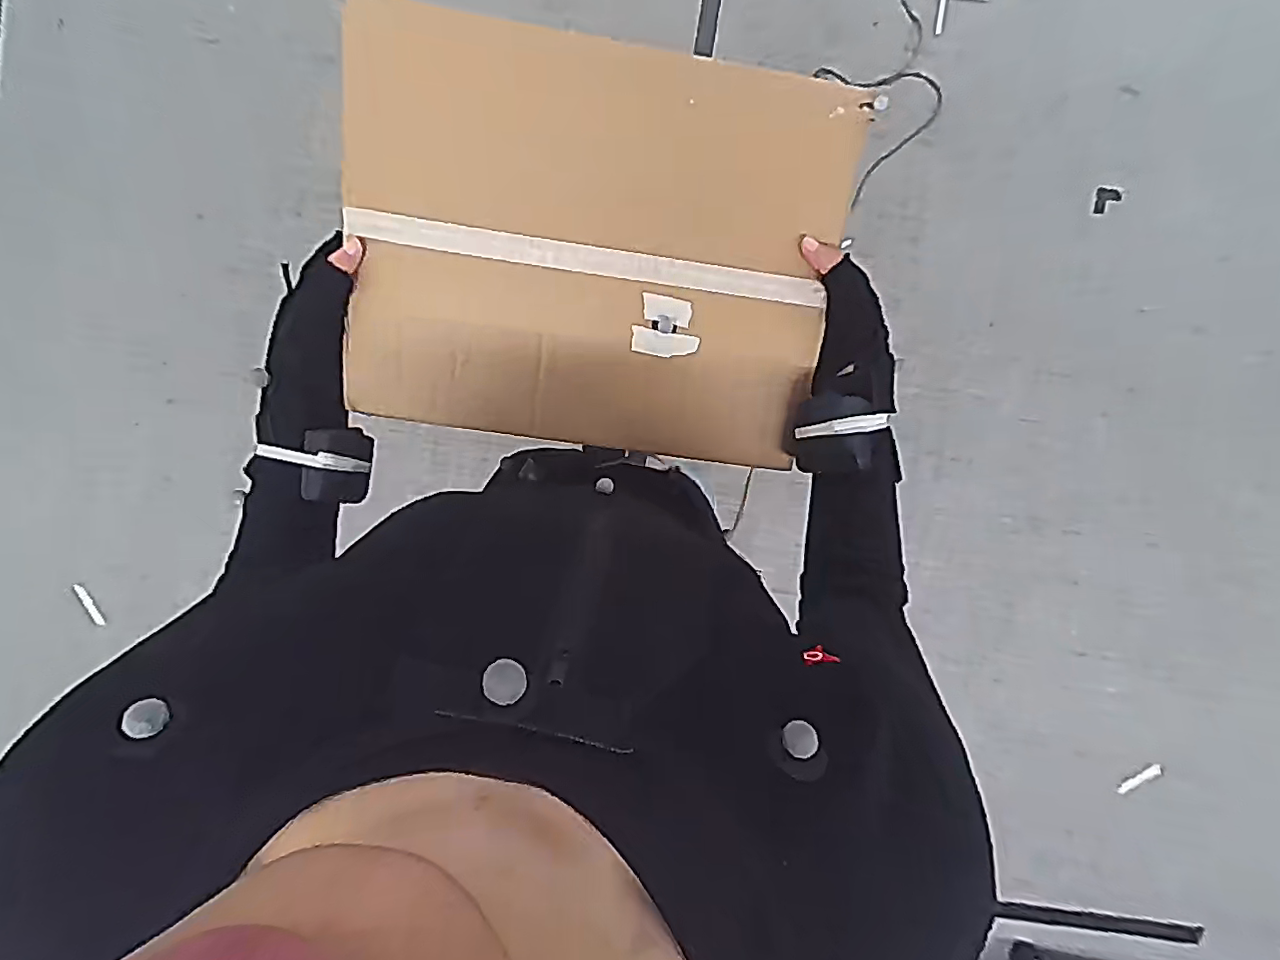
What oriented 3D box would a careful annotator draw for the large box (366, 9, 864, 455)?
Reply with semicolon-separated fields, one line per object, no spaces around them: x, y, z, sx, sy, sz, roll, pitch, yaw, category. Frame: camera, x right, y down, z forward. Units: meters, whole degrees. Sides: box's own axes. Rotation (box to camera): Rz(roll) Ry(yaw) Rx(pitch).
-0.040;-0.232;0.608;0.408;0.320;0.320;8;106;-5;large box
